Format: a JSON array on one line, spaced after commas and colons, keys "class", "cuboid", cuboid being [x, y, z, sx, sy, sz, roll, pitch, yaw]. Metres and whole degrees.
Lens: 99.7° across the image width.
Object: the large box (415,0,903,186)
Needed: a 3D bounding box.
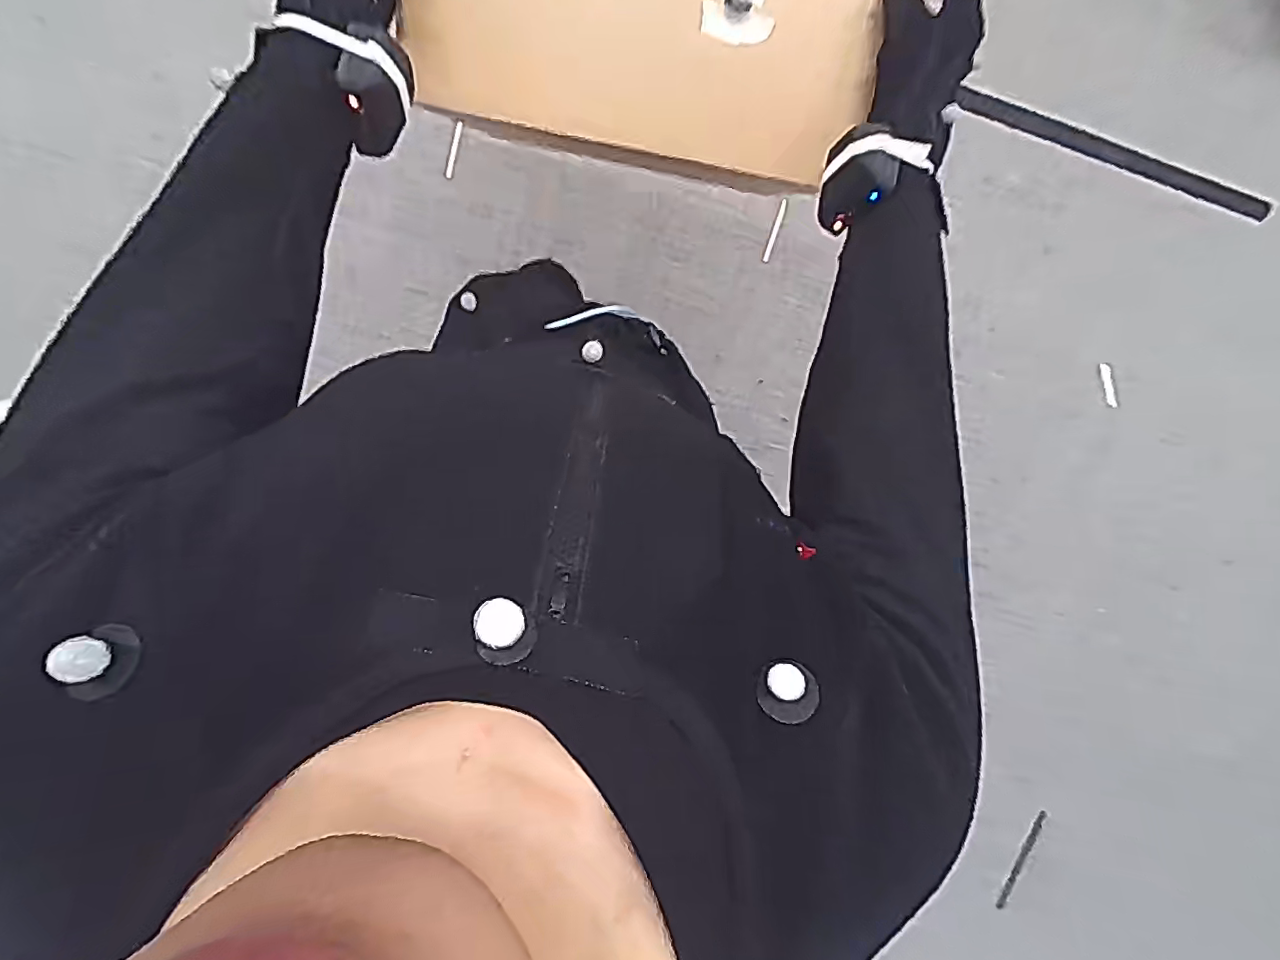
[{"class": "large box", "cuboid": [0.021, -0.508, 0.551, 0.408, 0.320, 0.320, 8, 118, -5]}]
